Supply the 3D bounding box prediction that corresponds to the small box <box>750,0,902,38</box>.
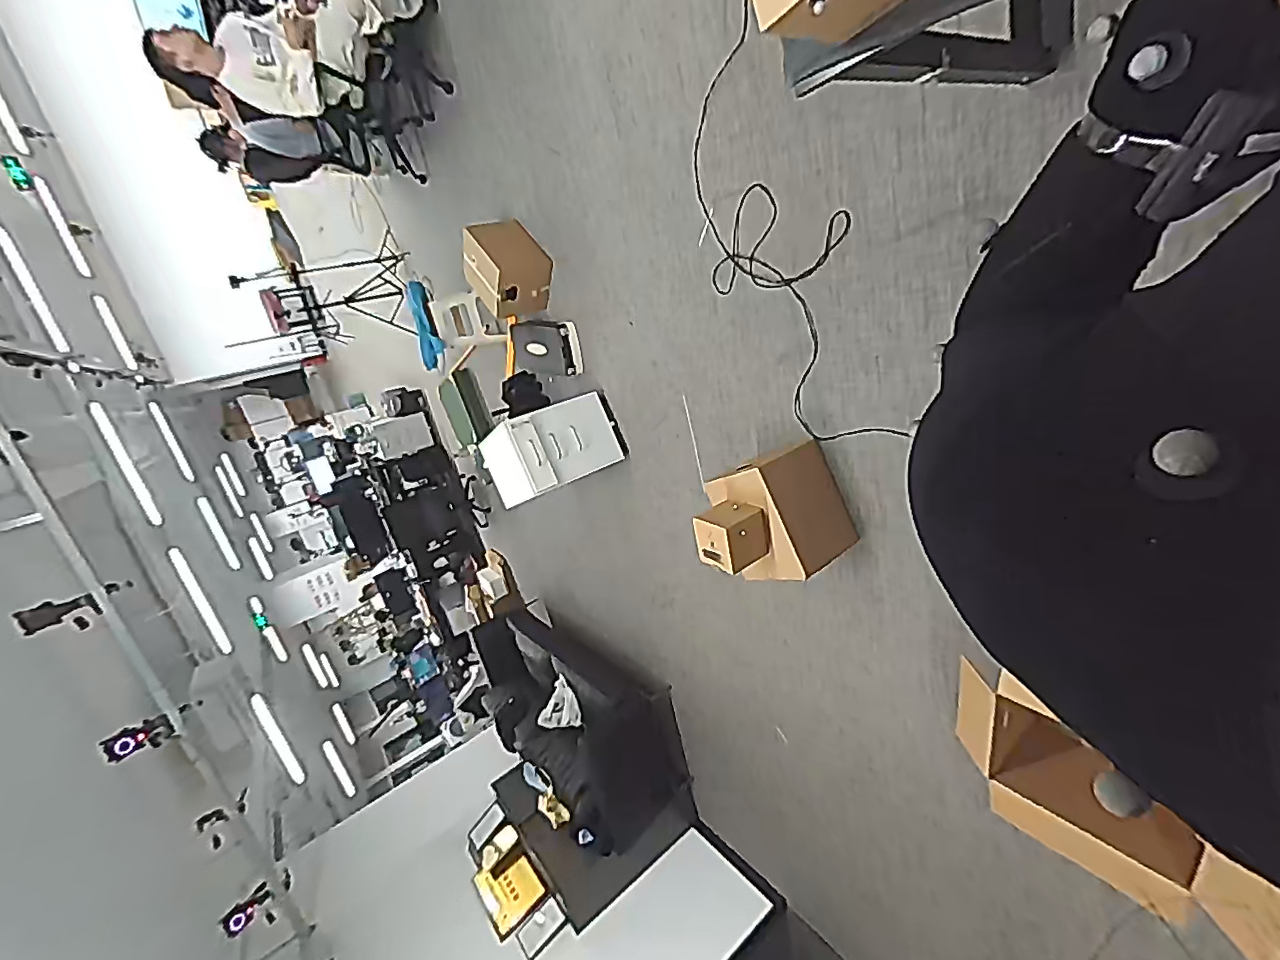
[{"bbox_3d":[0.225,-0.629,0.591,0.168,0.176,0.179,5,114,56],"label":"small box"}]
